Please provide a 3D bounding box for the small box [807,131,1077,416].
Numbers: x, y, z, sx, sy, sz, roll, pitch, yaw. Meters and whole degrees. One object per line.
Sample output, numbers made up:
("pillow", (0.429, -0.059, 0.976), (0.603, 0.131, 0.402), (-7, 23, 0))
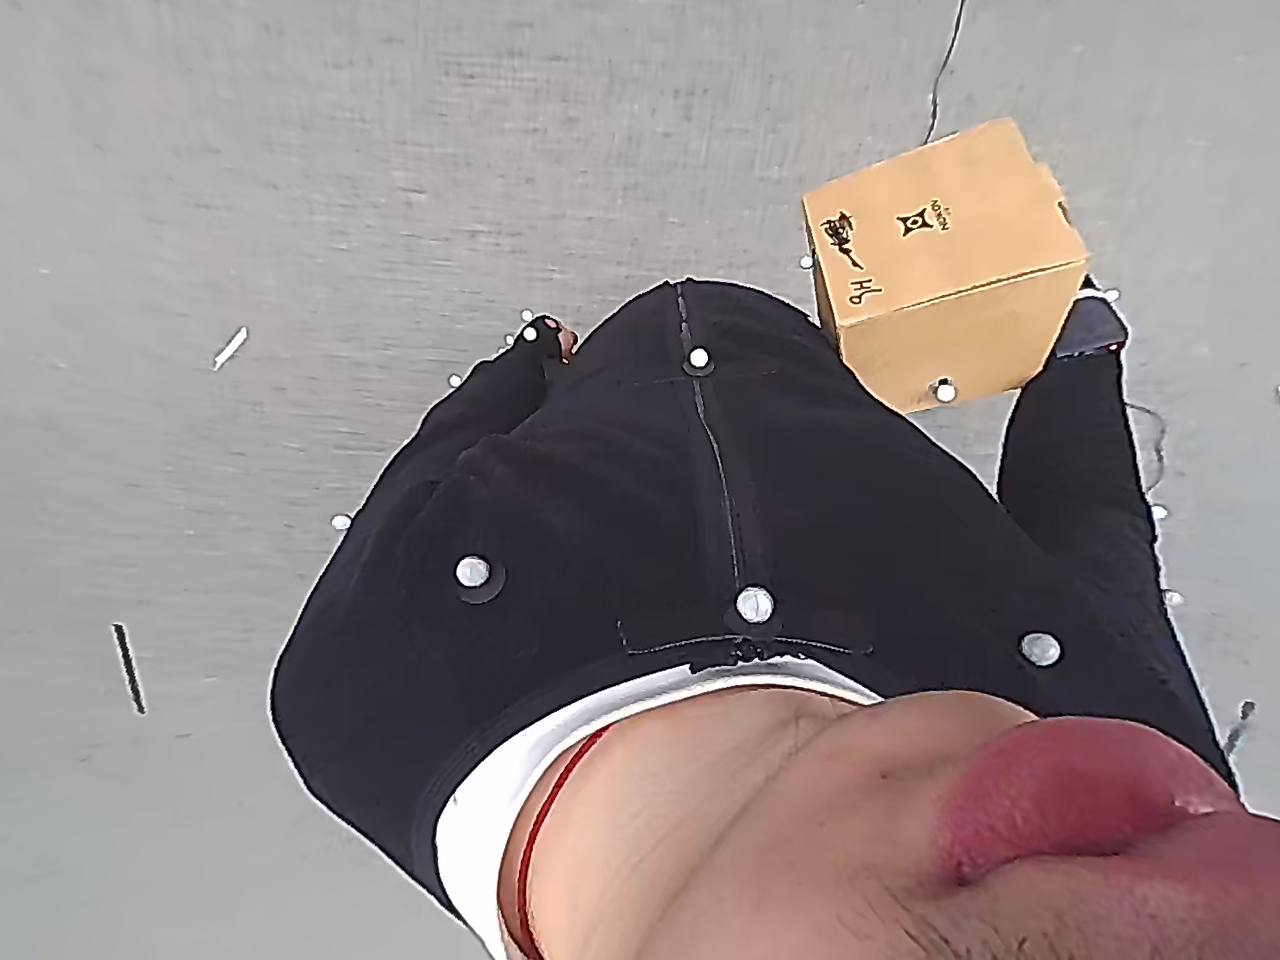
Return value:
("small box", (0.272, -0.186, 0.531), (0.179, 0.176, 0.168), (-12, 62, 18))
